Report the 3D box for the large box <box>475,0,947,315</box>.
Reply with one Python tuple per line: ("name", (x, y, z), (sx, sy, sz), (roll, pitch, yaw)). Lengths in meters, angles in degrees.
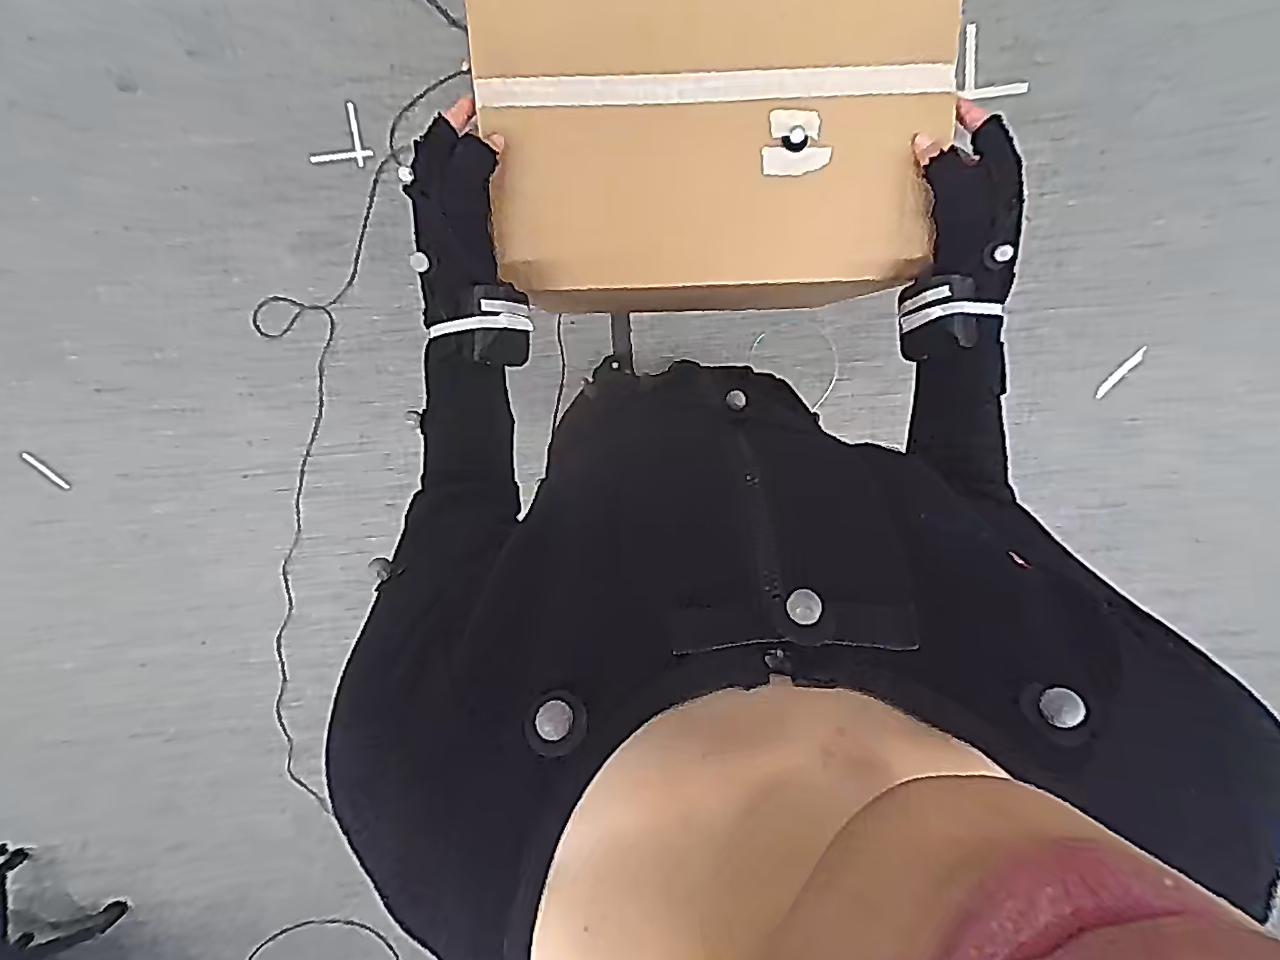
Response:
("large box", (0.059, -0.368, 0.615), (0.408, 0.320, 0.320), (-2, 103, -1))
